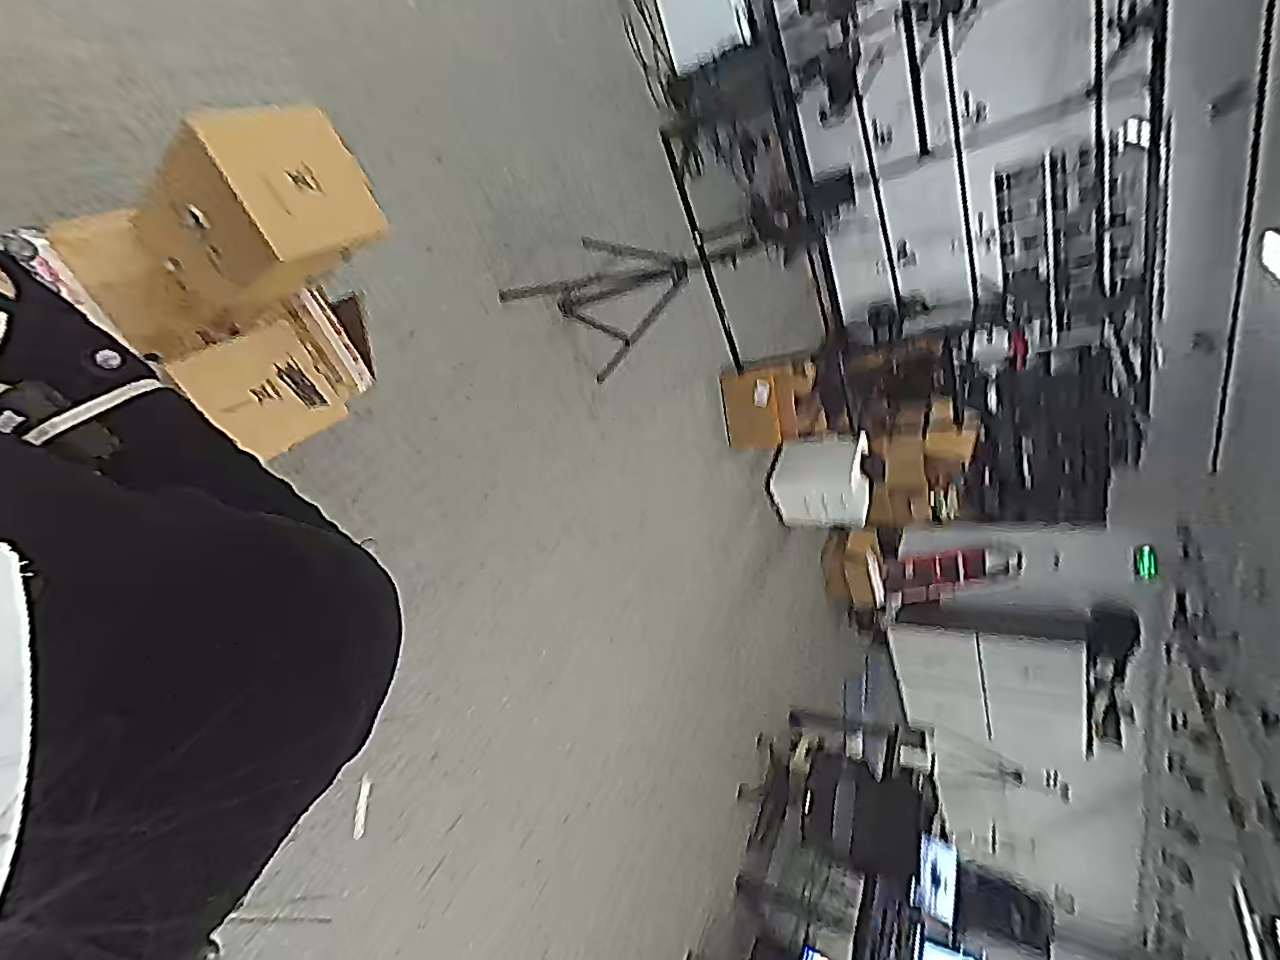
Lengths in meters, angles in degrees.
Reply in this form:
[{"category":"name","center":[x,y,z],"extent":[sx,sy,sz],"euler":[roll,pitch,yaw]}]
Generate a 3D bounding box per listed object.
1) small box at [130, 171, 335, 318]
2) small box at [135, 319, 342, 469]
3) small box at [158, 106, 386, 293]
[{"category":"small box","center":[-0.631,-0.373,0.843],"extent":[0.179,0.176,0.168],"euler":[-49,123,-43]},{"category":"small box","center":[-0.621,-0.130,0.841],"extent":[0.179,0.176,0.168],"euler":[-49,126,-42]},{"category":"small box","center":[-0.502,-0.380,0.744],"extent":[0.179,0.176,0.168],"euler":[-48,122,-42]}]
